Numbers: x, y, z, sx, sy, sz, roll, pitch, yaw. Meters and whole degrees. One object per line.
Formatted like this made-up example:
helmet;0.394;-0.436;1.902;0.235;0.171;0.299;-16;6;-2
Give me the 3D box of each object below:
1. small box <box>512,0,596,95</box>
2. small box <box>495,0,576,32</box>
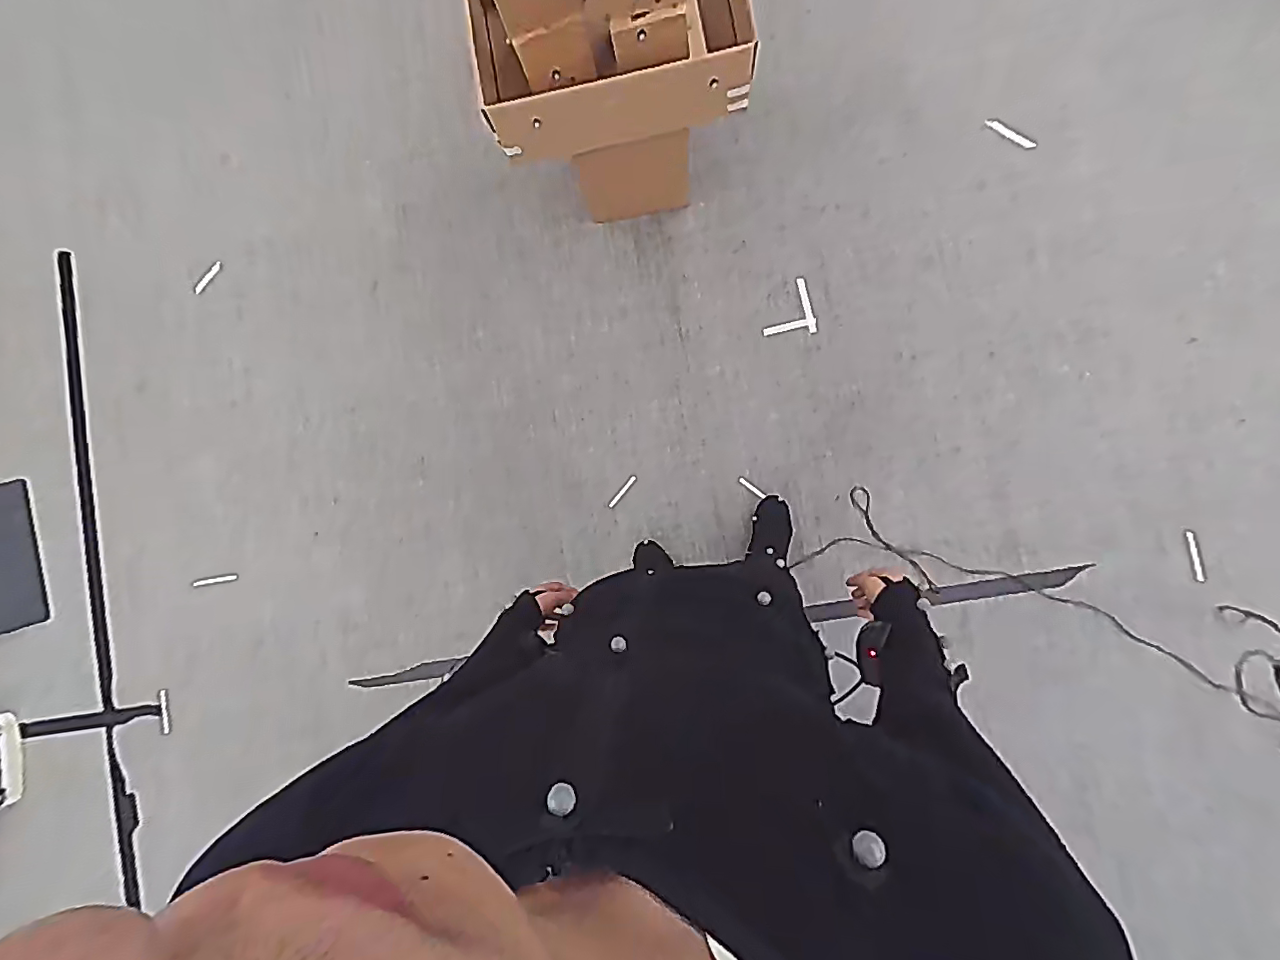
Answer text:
small box;-0.210;-1.038;1.233;0.168;0.176;0.179;-18;86;4
small box;-0.229;-1.055;1.071;0.179;0.176;0.168;-18;85;4
